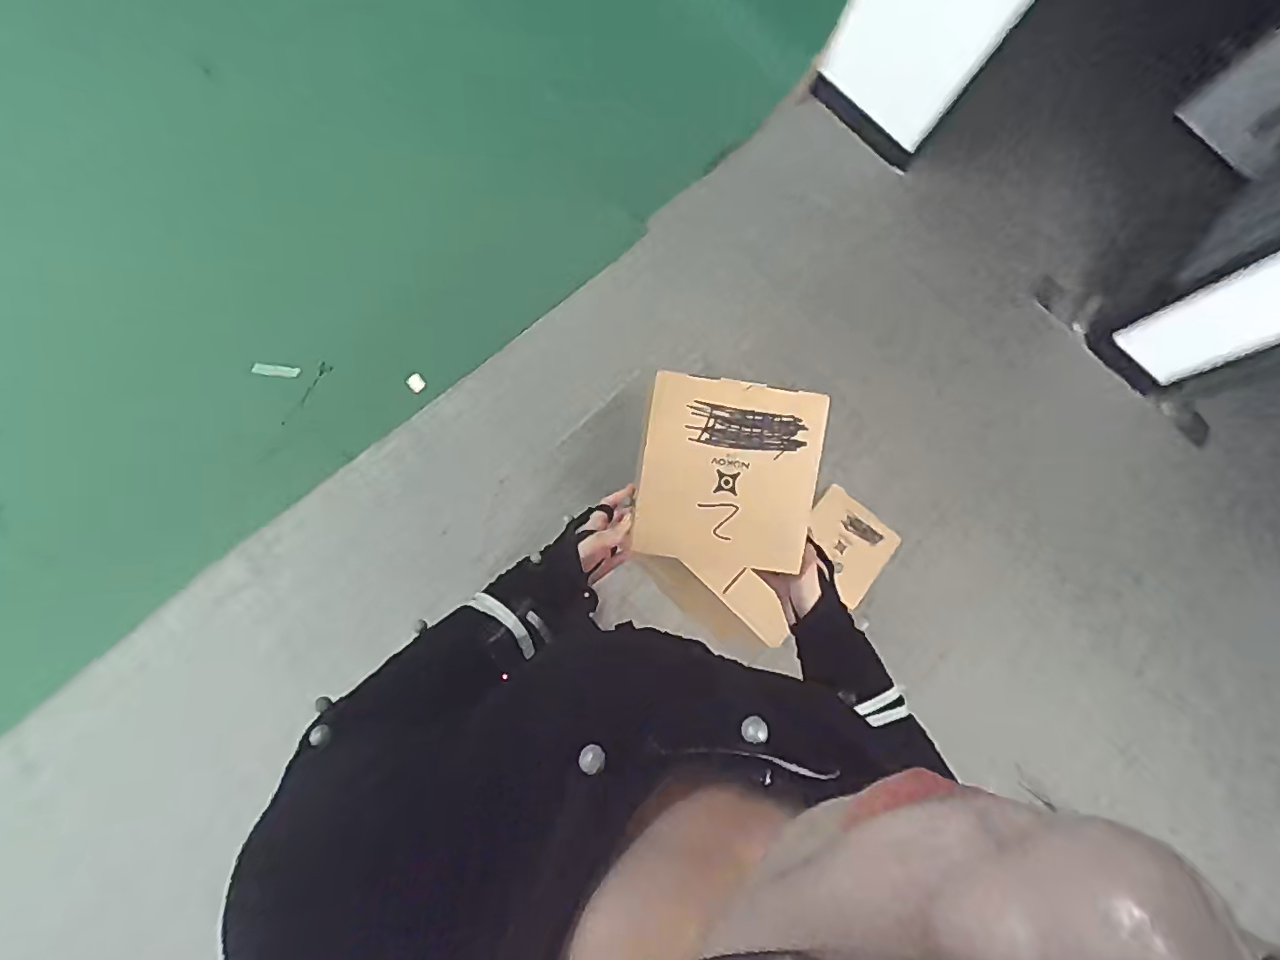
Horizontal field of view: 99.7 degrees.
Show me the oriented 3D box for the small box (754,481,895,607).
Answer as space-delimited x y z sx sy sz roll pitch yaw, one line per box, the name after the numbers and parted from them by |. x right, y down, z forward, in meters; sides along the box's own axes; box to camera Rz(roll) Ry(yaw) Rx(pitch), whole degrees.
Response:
0.356 0.133 1.076 0.168 0.176 0.179 42 75 4 | small box
